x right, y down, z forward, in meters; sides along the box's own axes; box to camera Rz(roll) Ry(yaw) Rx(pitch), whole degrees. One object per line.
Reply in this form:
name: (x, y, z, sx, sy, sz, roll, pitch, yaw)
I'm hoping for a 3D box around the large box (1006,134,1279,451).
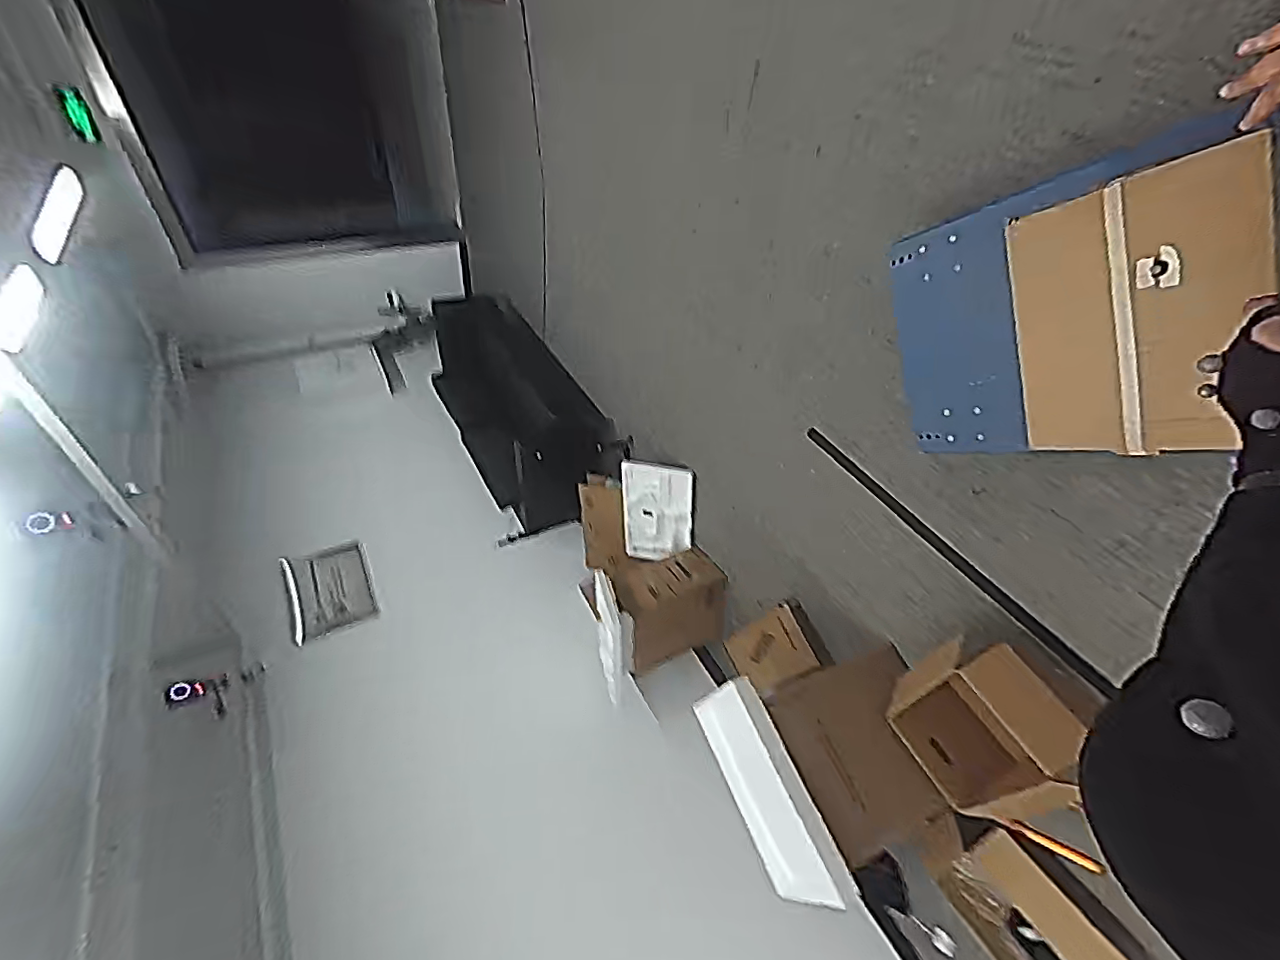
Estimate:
large box: (0.871, -0.277, 0.880, 0.320, 0.320, 0.408, 5, 110, 64)
